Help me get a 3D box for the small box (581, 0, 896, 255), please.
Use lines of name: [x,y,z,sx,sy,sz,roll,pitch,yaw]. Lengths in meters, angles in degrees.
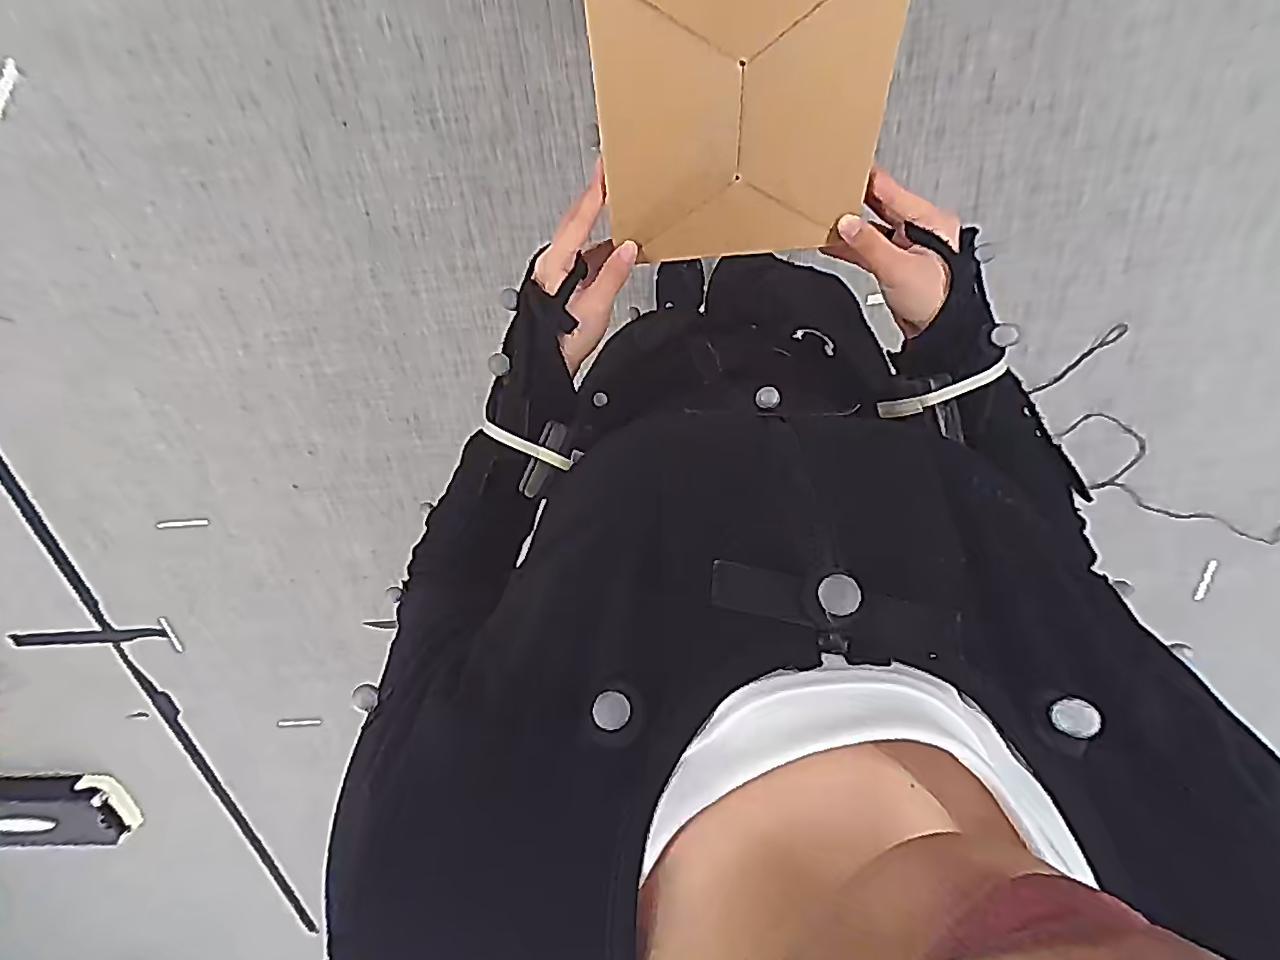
small box: [0.056,-0.281,0.389,0.179,0.176,0.168,-4,138,2]
